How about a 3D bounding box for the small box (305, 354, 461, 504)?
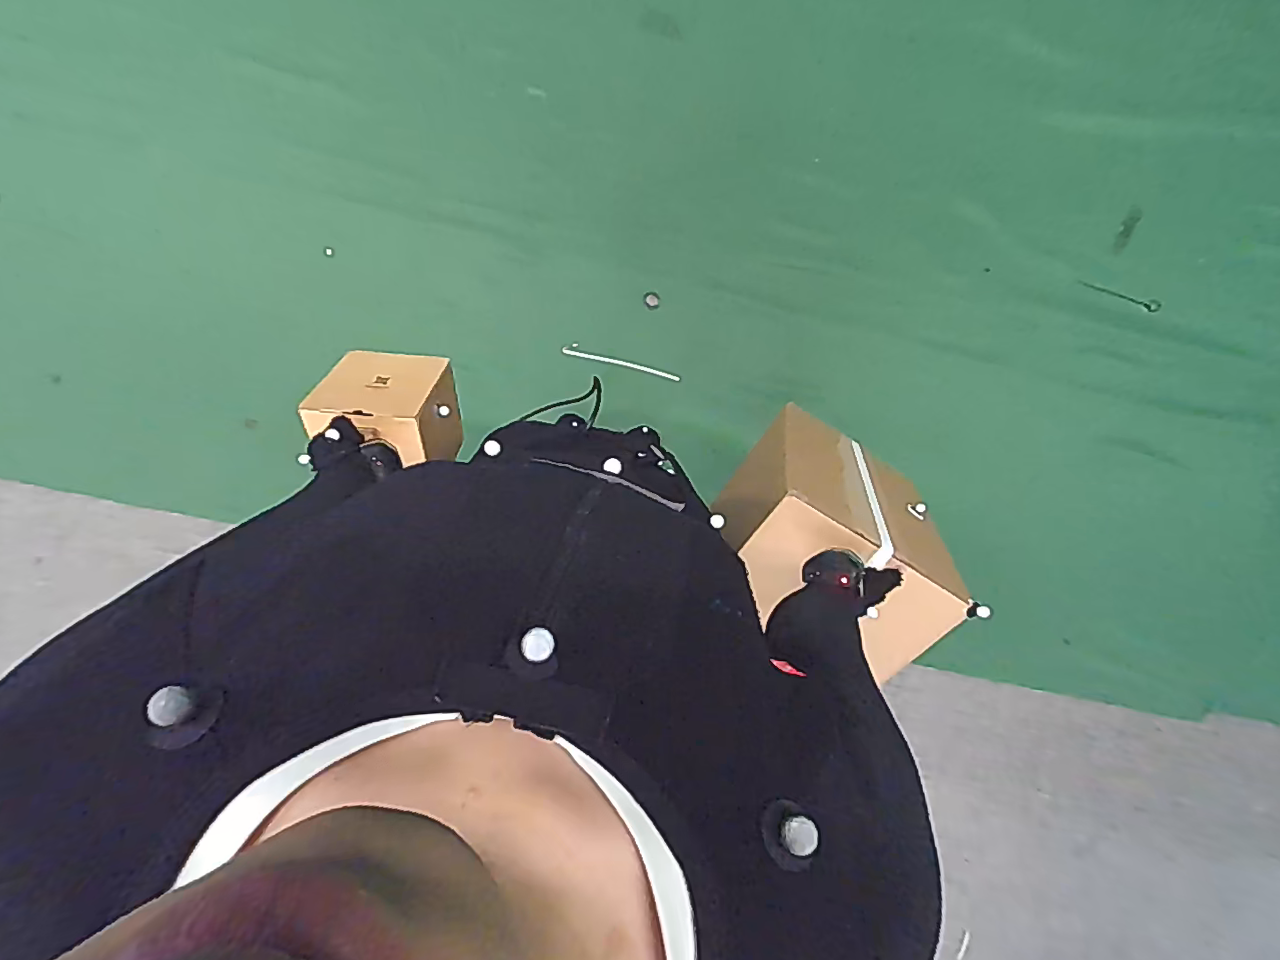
[{"bbox_3d":[-0.402,-0.084,0.885,0.168,0.179,0.176,4,131,-2],"label":"small box"}]
